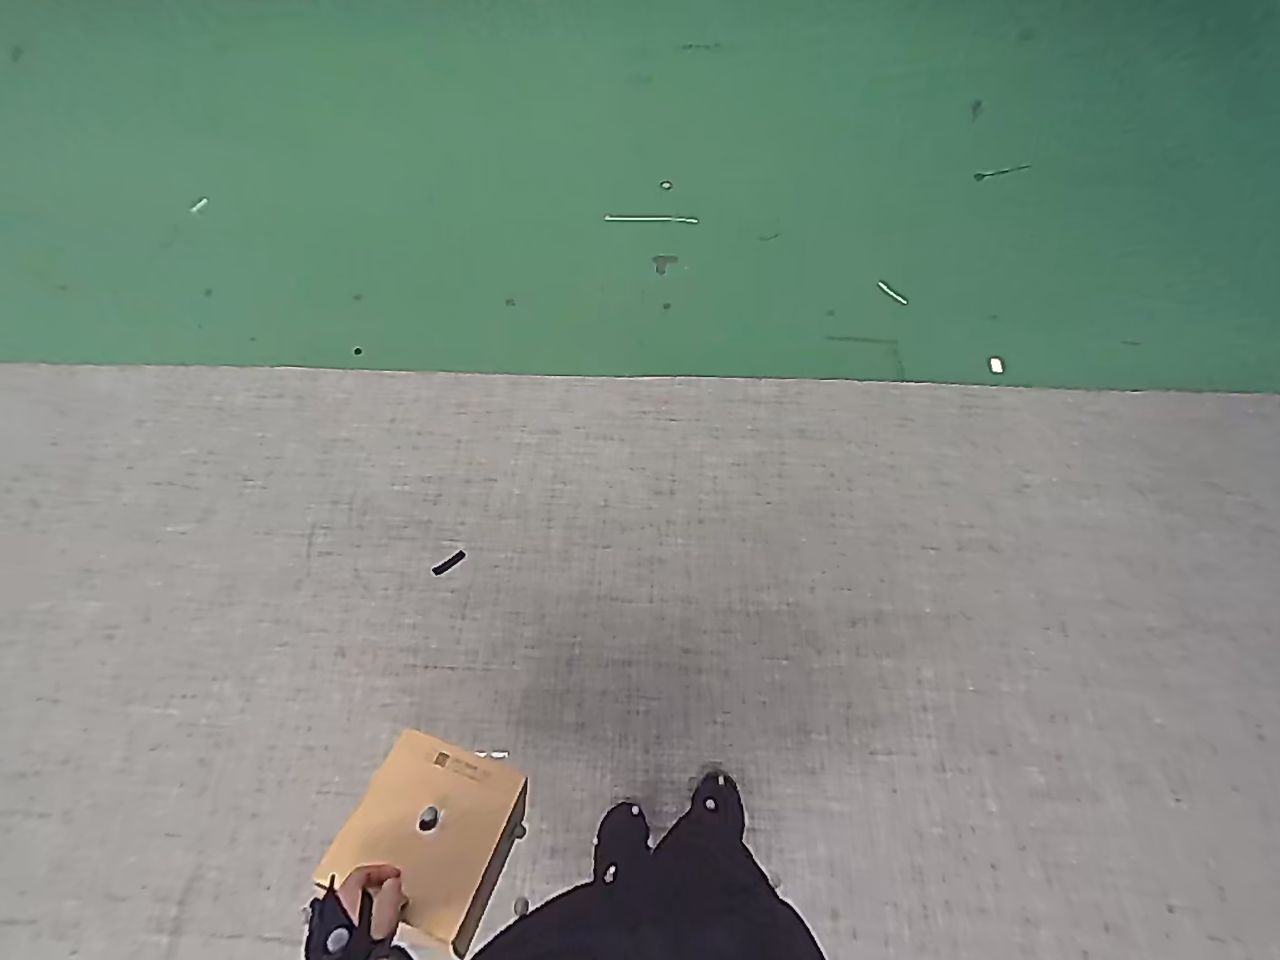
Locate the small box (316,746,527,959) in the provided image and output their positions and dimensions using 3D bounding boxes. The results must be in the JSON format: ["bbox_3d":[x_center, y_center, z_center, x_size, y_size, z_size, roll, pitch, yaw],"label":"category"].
[{"bbox_3d":[-0.248,0.457,0.659,0.168,0.179,0.176,18,42,6],"label":"small box"}]
